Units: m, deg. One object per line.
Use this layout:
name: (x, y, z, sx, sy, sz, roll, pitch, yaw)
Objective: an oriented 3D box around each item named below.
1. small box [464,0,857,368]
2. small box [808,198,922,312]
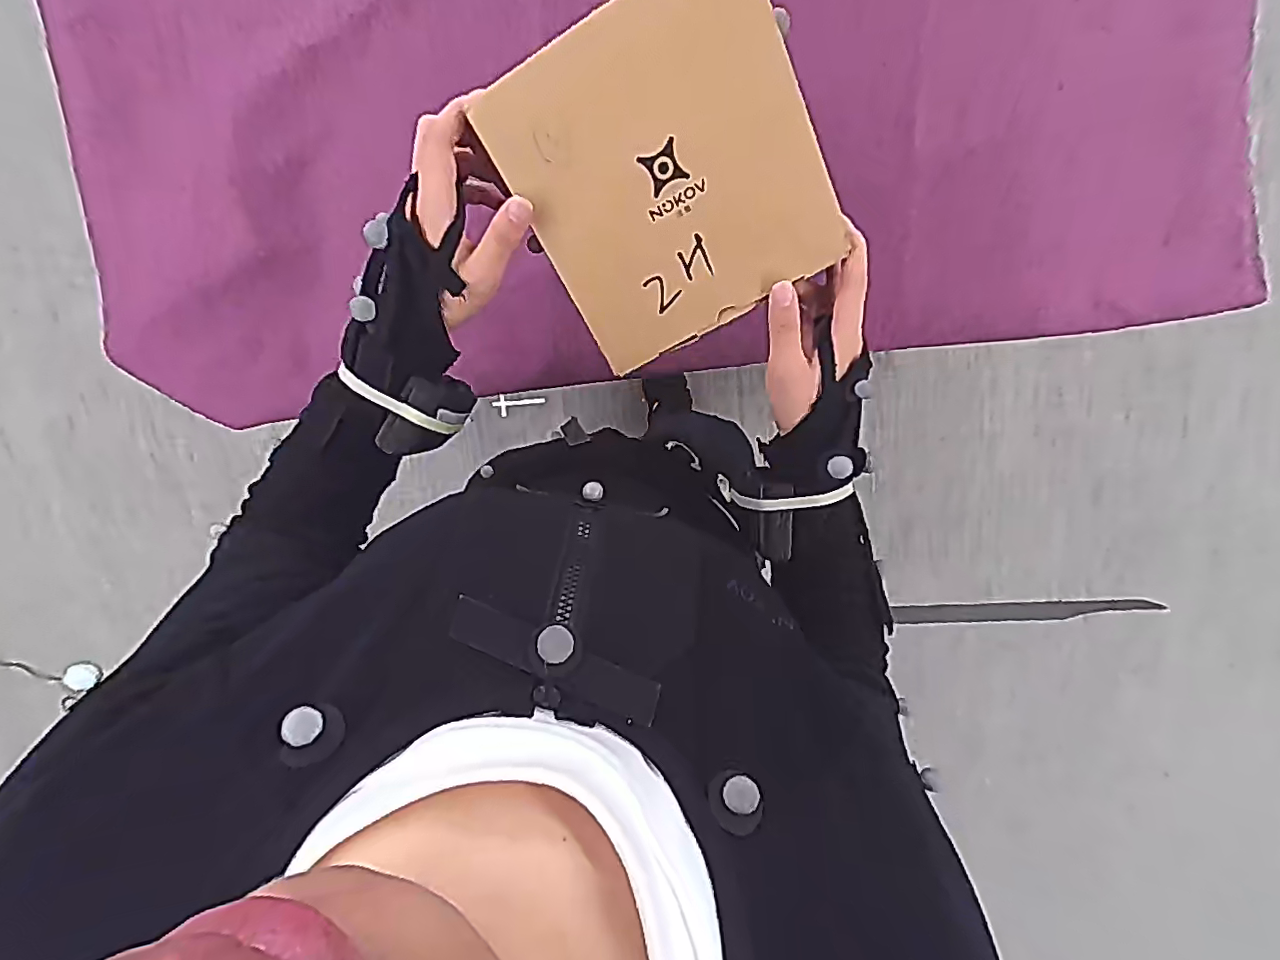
small box: (0.017, -0.208, 0.370, 0.168, 0.176, 0.179, -25, 115, 14)
small box: (0.435, -0.431, 1.068, 0.168, 0.176, 0.179, -3, 99, 5)
